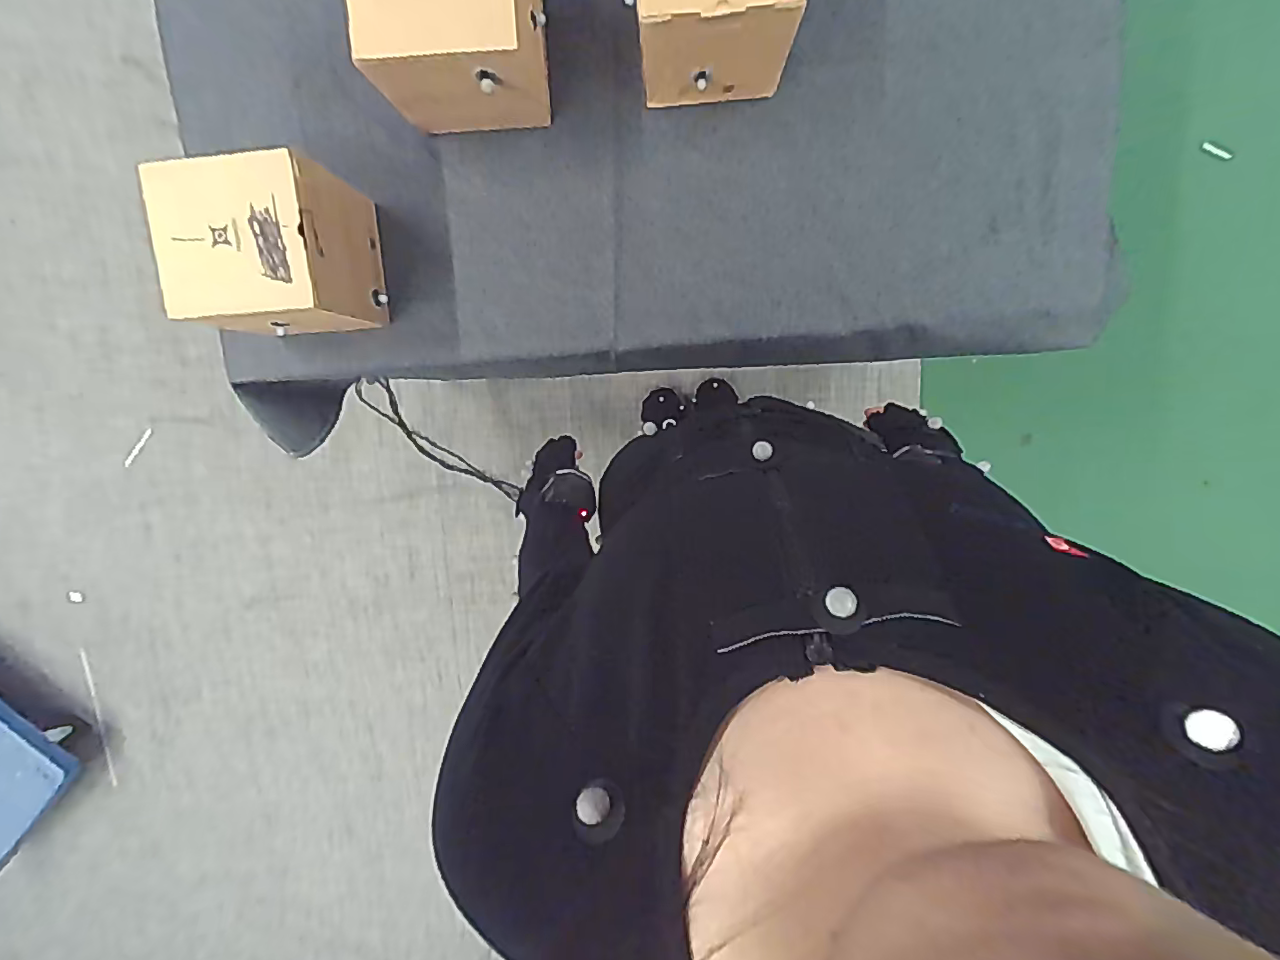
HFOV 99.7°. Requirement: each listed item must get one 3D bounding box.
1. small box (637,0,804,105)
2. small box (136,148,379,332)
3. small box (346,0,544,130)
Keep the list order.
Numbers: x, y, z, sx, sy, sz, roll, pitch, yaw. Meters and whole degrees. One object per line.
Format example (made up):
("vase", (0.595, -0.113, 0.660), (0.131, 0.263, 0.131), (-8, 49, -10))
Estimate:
("small box", (0.078, -0.560, 0.602), (0.168, 0.176, 0.179), (-3, 100, 3))
("small box", (-0.445, -0.279, 0.664), (0.179, 0.176, 0.168), (-3, 99, 3))
("small box", (-0.209, -0.526, 0.614), (0.179, 0.176, 0.168), (-2, 100, 2))
